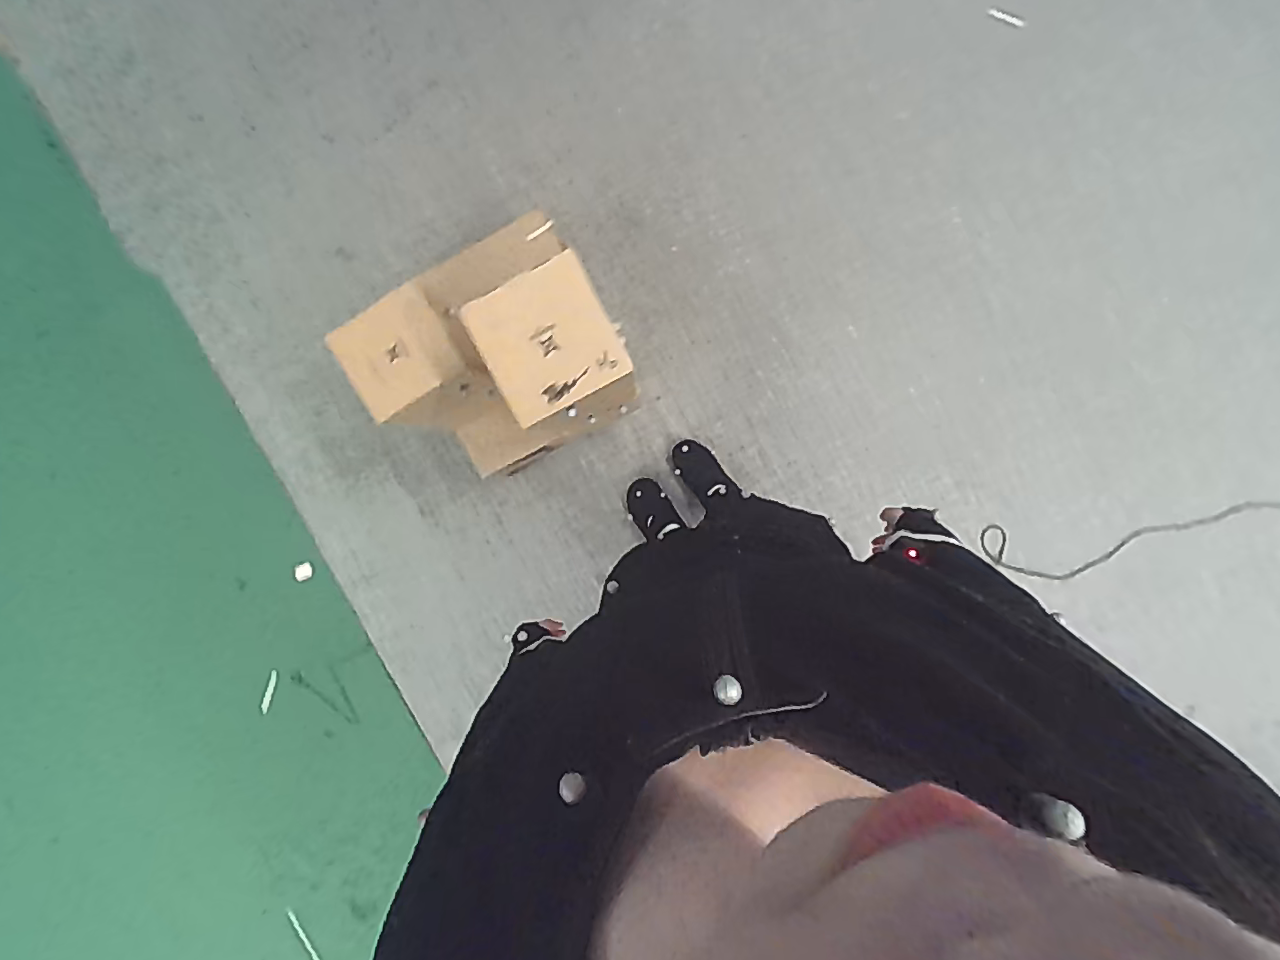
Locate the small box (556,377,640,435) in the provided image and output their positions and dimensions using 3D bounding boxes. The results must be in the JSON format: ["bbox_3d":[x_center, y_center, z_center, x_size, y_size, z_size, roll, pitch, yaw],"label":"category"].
[{"bbox_3d":[-0.113,-0.201,1.094,0.179,0.176,0.168,-28,92,2],"label":"small box"}]

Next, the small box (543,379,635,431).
[{"bbox_3d":[-0.119,-0.195,0.931,0.168,0.176,0.179,-28,93,2],"label":"small box"}]

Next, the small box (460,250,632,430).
[{"bbox_3d":[-0.121,-0.183,0.767,0.168,0.176,0.179,-27,92,2],"label":"small box"}]

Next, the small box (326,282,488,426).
[{"bbox_3d":[-0.385,-0.207,0.940,0.179,0.176,0.168,-31,90,4],"label":"small box"}]
